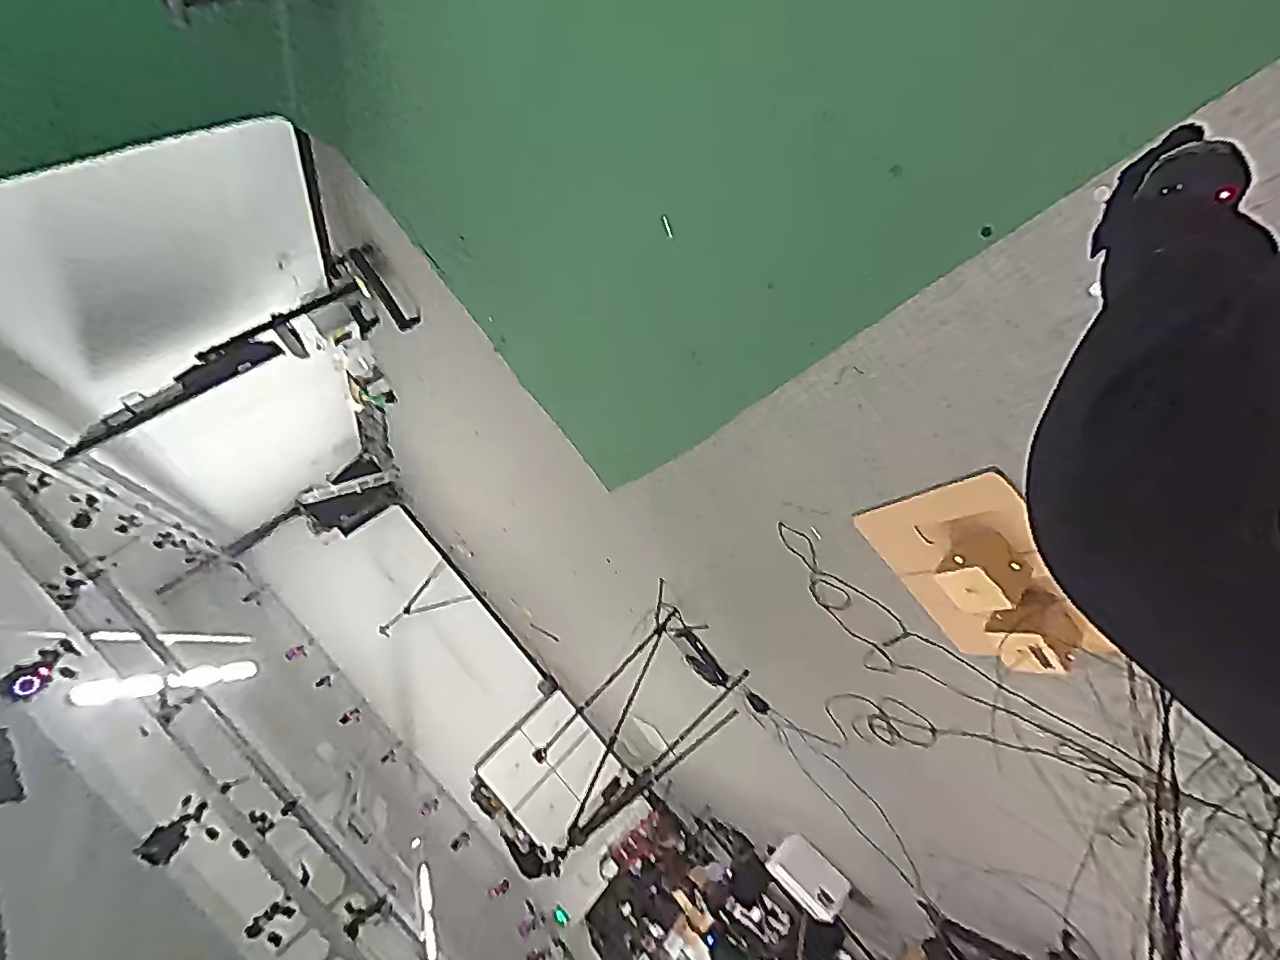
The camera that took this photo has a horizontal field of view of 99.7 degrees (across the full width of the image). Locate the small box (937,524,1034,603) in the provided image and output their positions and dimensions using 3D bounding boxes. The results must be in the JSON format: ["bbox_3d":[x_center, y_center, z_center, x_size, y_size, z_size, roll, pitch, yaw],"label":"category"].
[{"bbox_3d":[1.099,0.267,1.719,0.168,0.176,0.179,49,152,1],"label":"small box"}]
